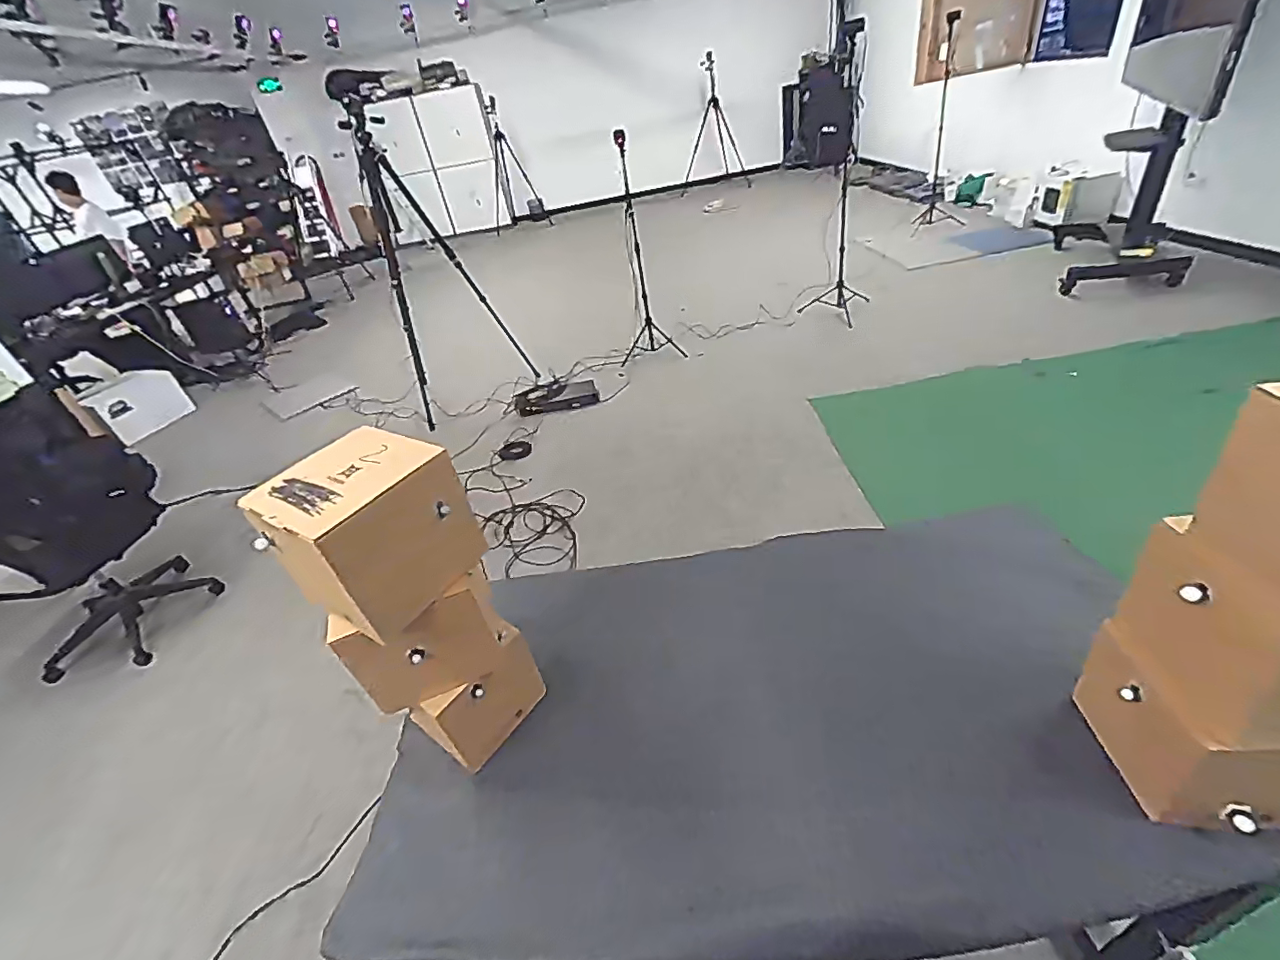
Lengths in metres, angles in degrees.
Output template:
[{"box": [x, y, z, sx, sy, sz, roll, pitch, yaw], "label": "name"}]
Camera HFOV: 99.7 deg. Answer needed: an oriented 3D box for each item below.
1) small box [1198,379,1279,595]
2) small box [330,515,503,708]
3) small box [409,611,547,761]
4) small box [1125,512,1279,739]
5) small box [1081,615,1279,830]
[{"box": [0.635, 0.019, 0.441, 0.168, 0.176, 0.179, -6, 32, 9], "label": "small box"}, {"box": [-0.307, 0.185, 0.771, 0.179, 0.176, 0.168, -21, 38, -12], "label": "small box"}, {"box": [-0.280, 0.312, 0.872, 0.179, 0.176, 0.168, 18, 46, 34], "label": "small box"}, {"box": [0.658, 0.143, 0.550, 0.168, 0.176, 0.179, -7, 32, 9], "label": "small box"}, {"box": [0.672, 0.279, 0.639, 0.168, 0.176, 0.179, -6, 34, 11], "label": "small box"}]
